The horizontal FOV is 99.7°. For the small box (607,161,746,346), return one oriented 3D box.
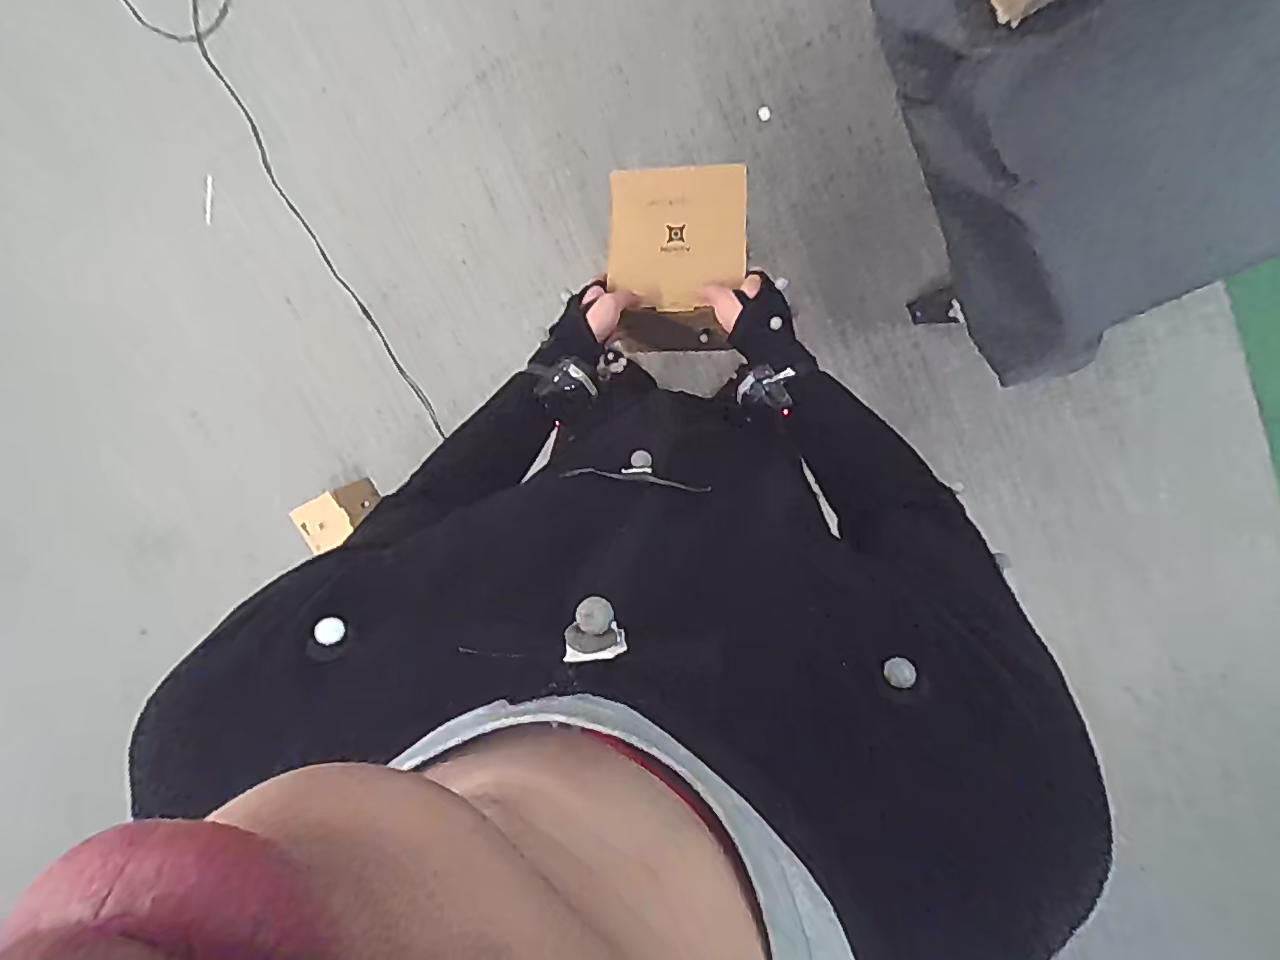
[{"bbox_3d":[0.052,-0.285,0.721,0.168,0.176,0.179,0,84,5],"label":"small box"}]

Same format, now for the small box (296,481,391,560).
[{"bbox_3d":[-0.918,0.120,1.700,0.179,0.176,0.168,-24,100,15],"label":"small box"}]
